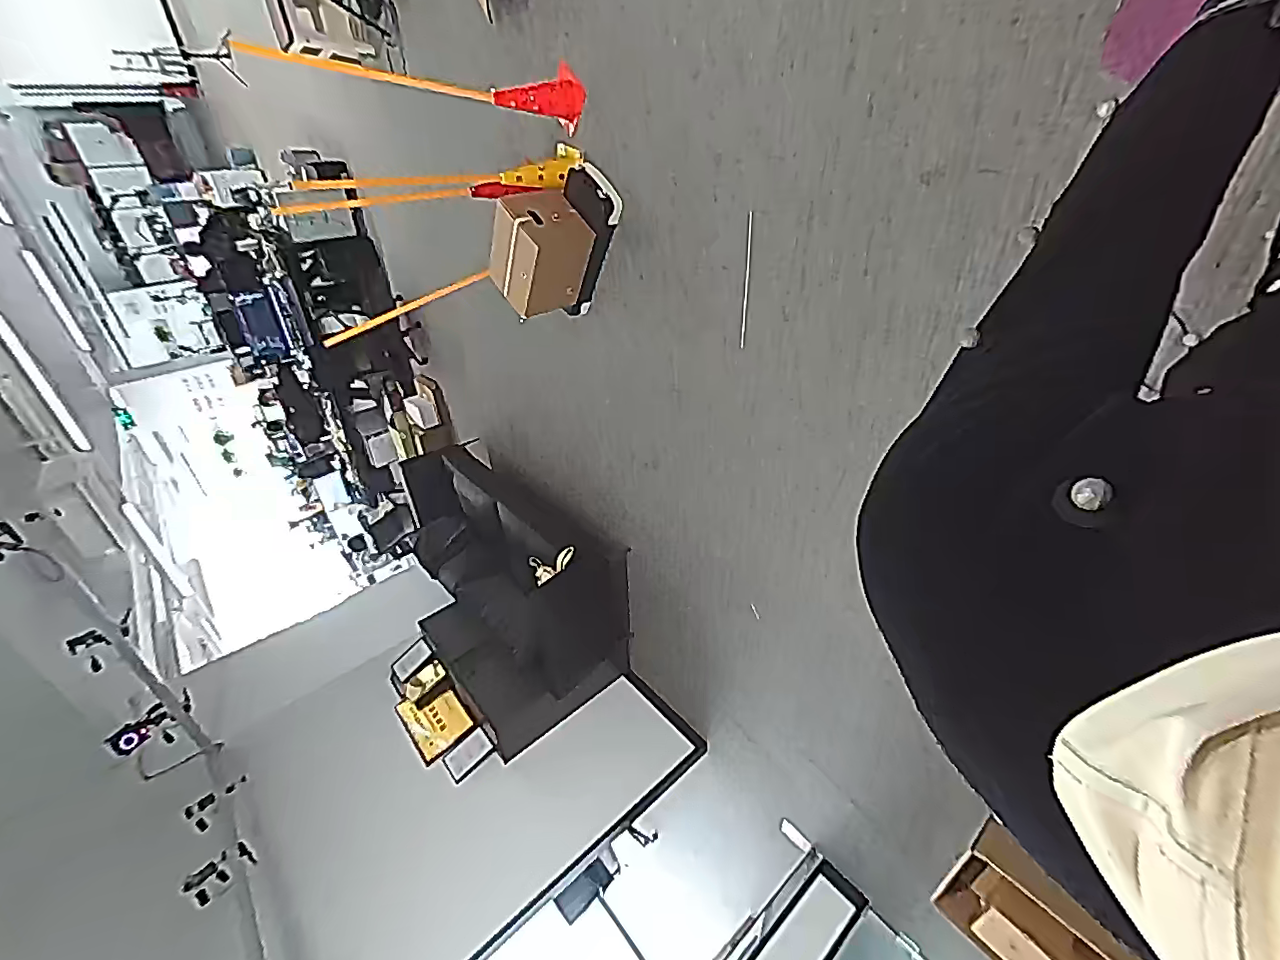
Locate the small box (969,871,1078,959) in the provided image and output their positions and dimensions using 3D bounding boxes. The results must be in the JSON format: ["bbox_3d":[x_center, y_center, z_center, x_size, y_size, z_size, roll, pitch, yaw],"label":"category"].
[{"bbox_3d":[1.040,1.222,1.467,0.168,0.176,0.179,34,137,38],"label":"small box"}]
